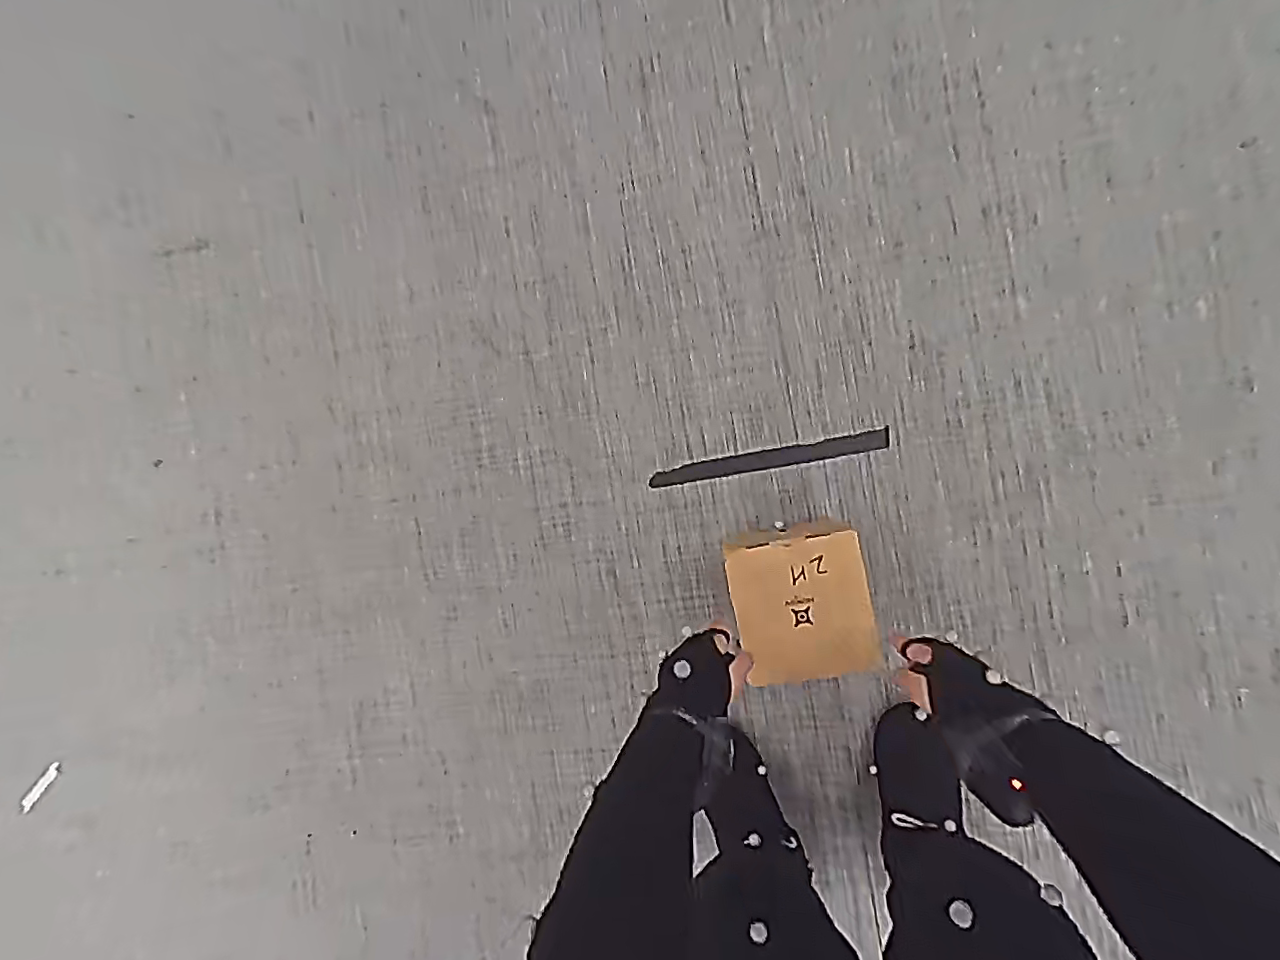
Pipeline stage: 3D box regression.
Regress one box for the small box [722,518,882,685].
[{"bbox_3d":[0.211,0.156,0.739,0.168,0.176,0.179,-11,88,9],"label":"small box"}]
